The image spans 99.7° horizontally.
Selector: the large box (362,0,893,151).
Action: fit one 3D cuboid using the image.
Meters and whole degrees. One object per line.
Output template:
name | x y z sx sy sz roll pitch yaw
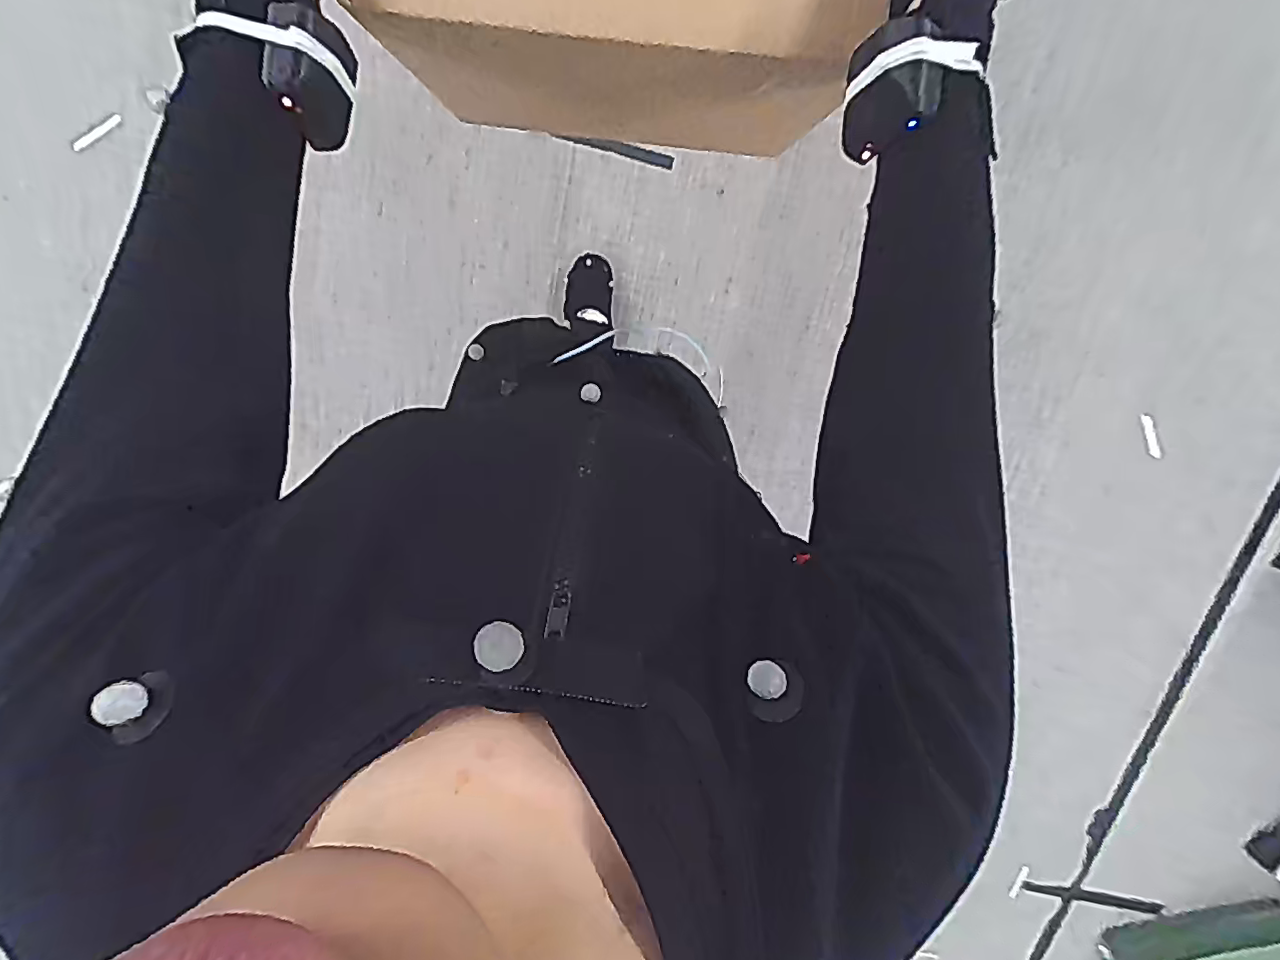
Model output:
large box | -0.006 -0.528 0.496 0.408 0.320 0.320 4 110 -4
